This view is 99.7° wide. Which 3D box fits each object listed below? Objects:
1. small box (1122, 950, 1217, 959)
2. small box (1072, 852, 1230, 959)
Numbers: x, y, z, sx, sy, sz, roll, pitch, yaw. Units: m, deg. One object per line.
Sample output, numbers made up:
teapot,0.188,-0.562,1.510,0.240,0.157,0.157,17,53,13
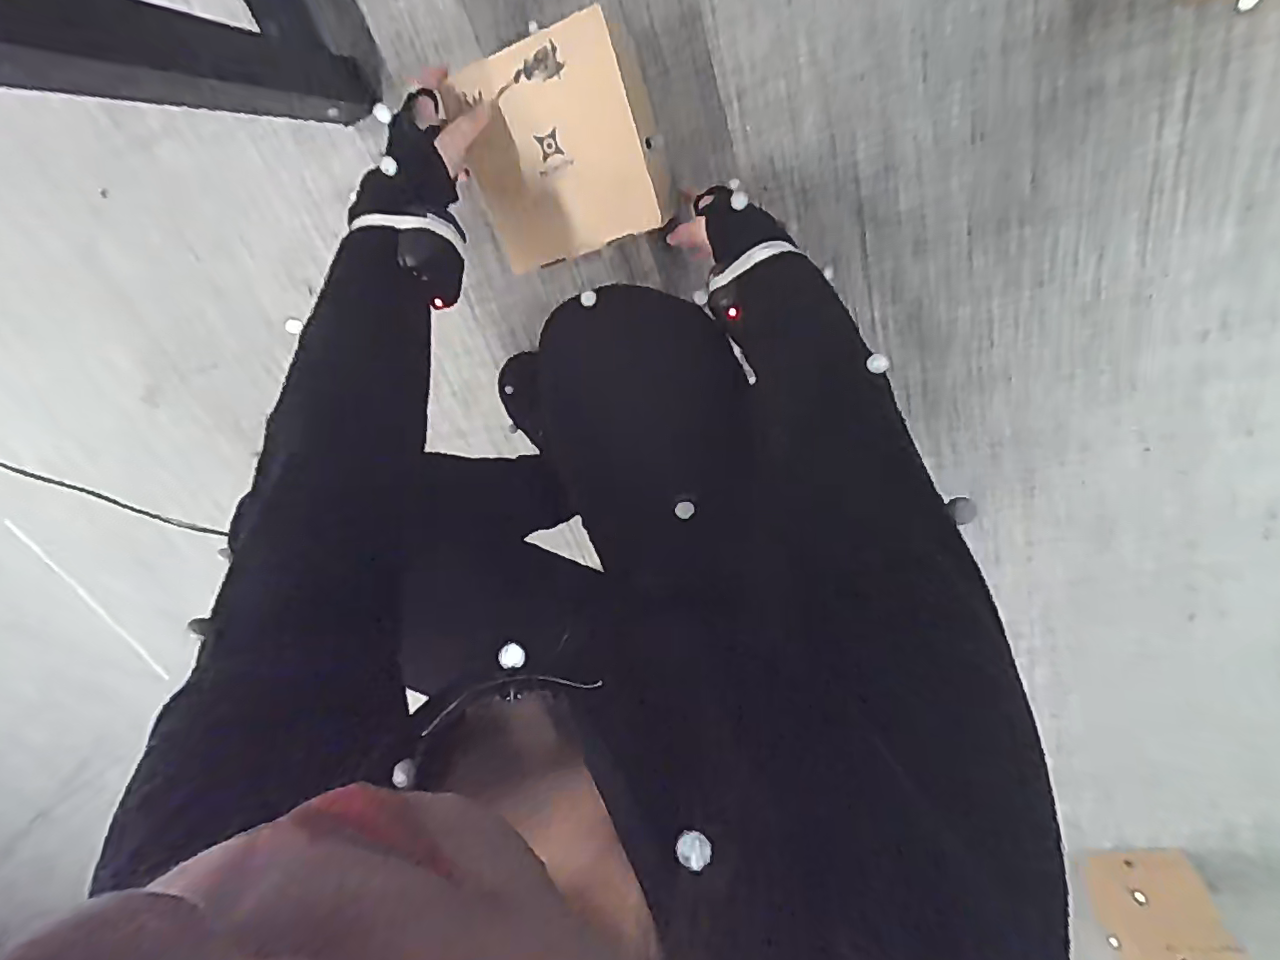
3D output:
small box,0.957,0.939,0.918,0.168,0.176,0.179,-13,116,19
small box,0.984,0.861,1.061,0.168,0.176,0.179,-12,117,18
